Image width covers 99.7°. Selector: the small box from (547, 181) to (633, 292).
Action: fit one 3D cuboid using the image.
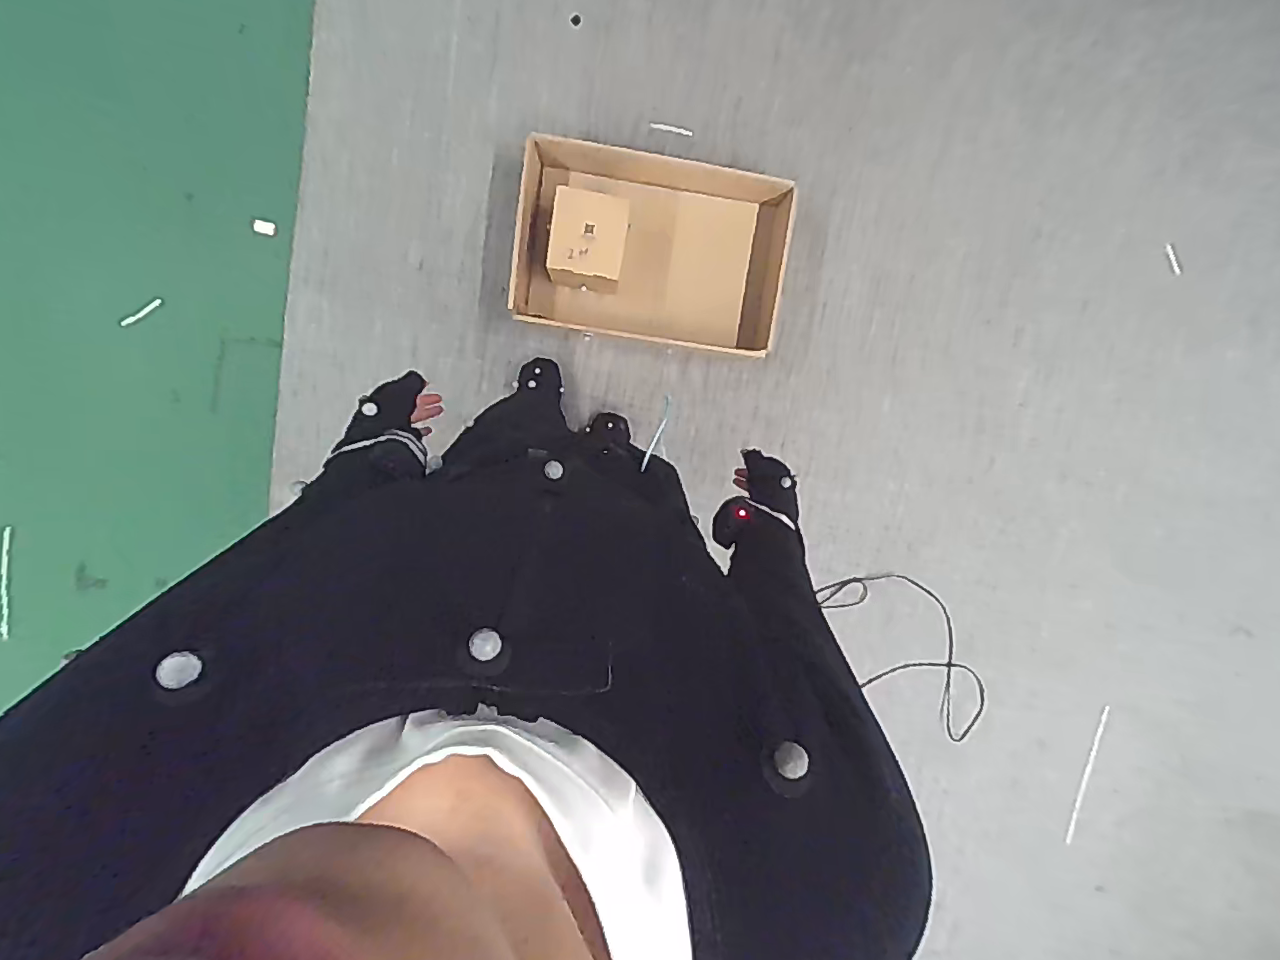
[{"bbox_3d":[-0.115,-0.553,1.251,0.168,0.176,0.179,9,98,-5],"label":"small box"}]
